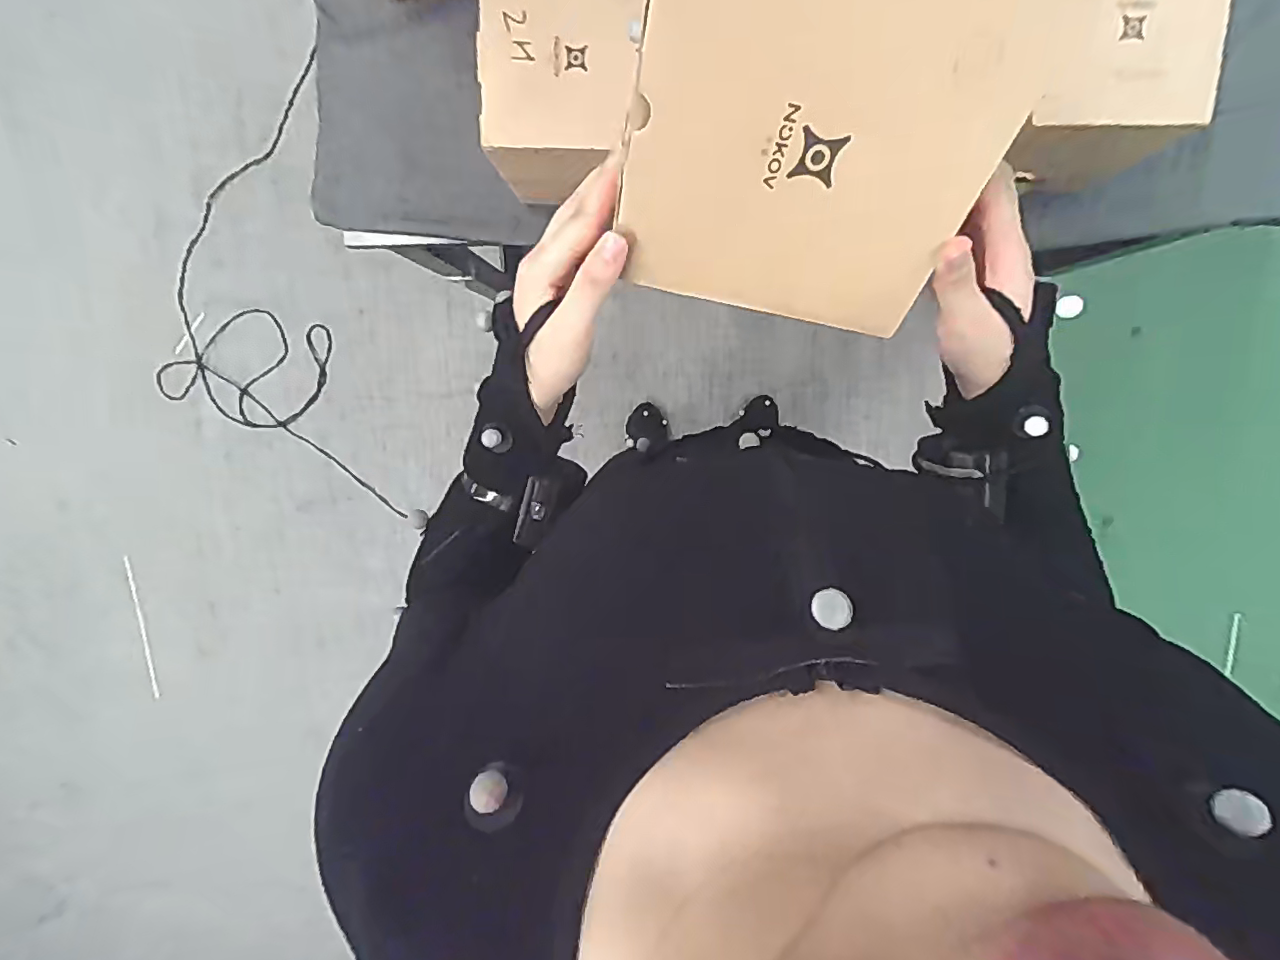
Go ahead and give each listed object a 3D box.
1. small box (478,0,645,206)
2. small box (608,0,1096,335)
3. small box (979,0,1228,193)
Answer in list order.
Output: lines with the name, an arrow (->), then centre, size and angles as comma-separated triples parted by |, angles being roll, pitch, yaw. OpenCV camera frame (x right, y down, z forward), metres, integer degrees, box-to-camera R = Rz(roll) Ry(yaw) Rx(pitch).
small box -> -0.067, -0.419, 0.600 | 0.179, 0.176, 0.168 | 2, 100, 3
small box -> 0.086, -0.212, 0.310 | 0.179, 0.176, 0.168 | 10, 137, -4
small box -> 0.453, -0.430, 0.575 | 0.168, 0.176, 0.179 | 1, 99, 3
